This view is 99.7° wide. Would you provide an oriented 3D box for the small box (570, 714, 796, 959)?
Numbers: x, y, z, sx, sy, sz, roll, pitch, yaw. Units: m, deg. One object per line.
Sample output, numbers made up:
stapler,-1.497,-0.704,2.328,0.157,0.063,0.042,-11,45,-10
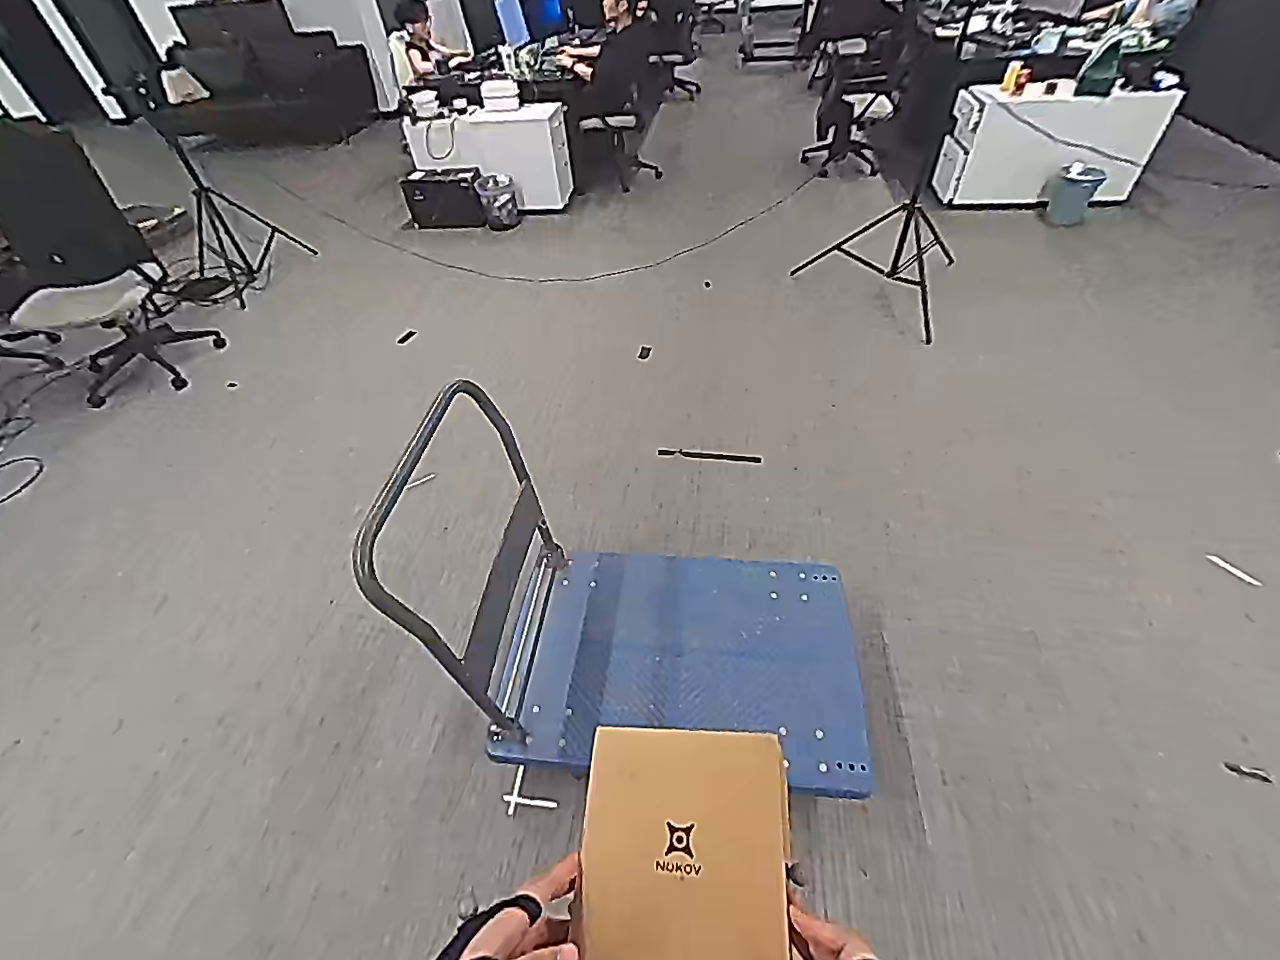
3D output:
small box,0.051,0.330,0.494,0.168,0.176,0.179,-4,52,13
